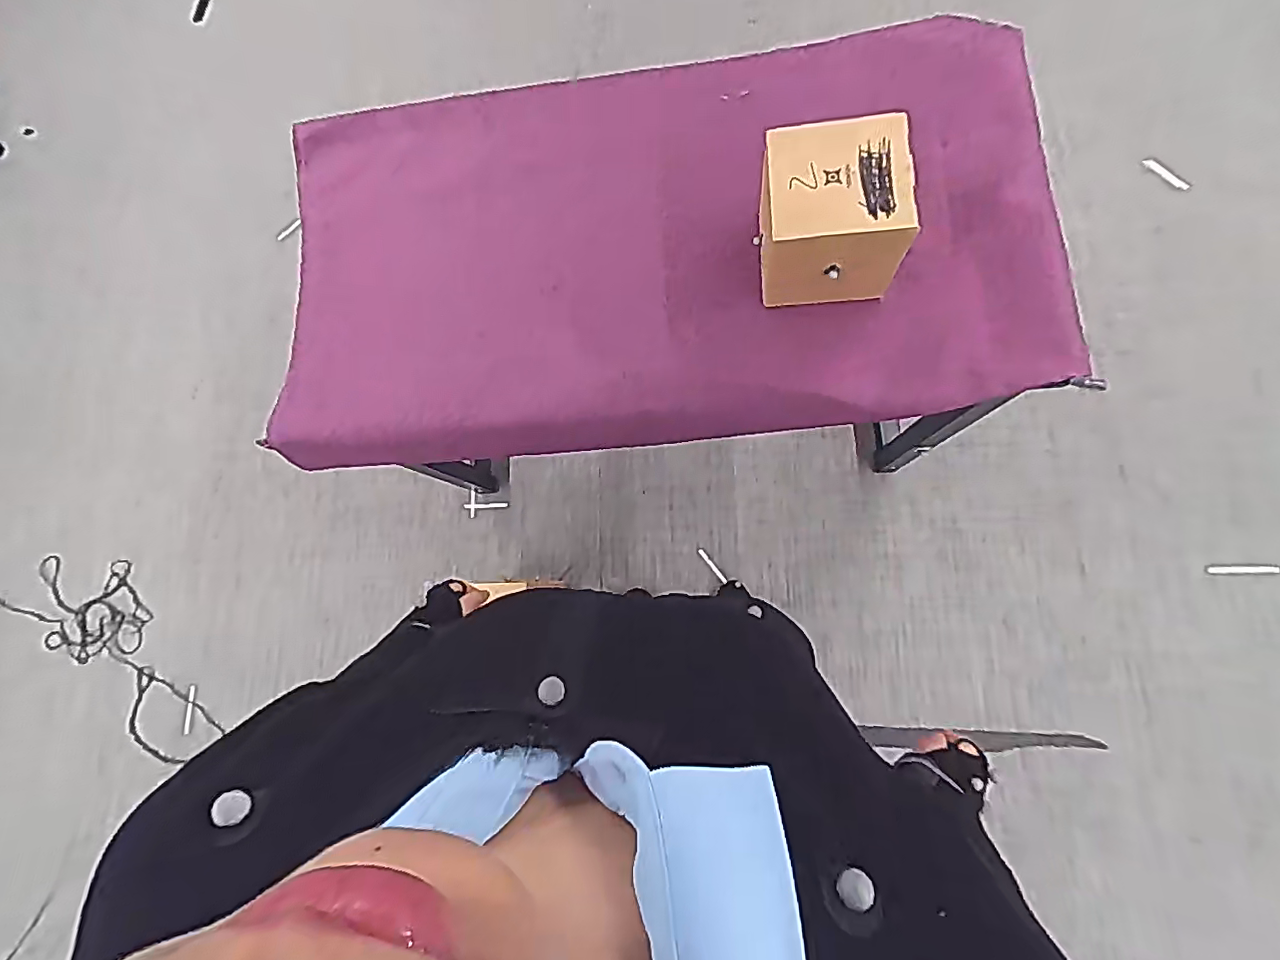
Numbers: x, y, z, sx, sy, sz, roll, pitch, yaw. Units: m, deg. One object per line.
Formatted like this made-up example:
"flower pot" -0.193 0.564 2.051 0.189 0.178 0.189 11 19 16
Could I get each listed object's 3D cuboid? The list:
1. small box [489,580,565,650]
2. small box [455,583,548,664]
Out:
"small box" -0.308 0.364 1.457 0.168 0.176 0.179 3 80 8
"small box" -0.323 0.337 1.294 0.168 0.176 0.179 -2 80 8
